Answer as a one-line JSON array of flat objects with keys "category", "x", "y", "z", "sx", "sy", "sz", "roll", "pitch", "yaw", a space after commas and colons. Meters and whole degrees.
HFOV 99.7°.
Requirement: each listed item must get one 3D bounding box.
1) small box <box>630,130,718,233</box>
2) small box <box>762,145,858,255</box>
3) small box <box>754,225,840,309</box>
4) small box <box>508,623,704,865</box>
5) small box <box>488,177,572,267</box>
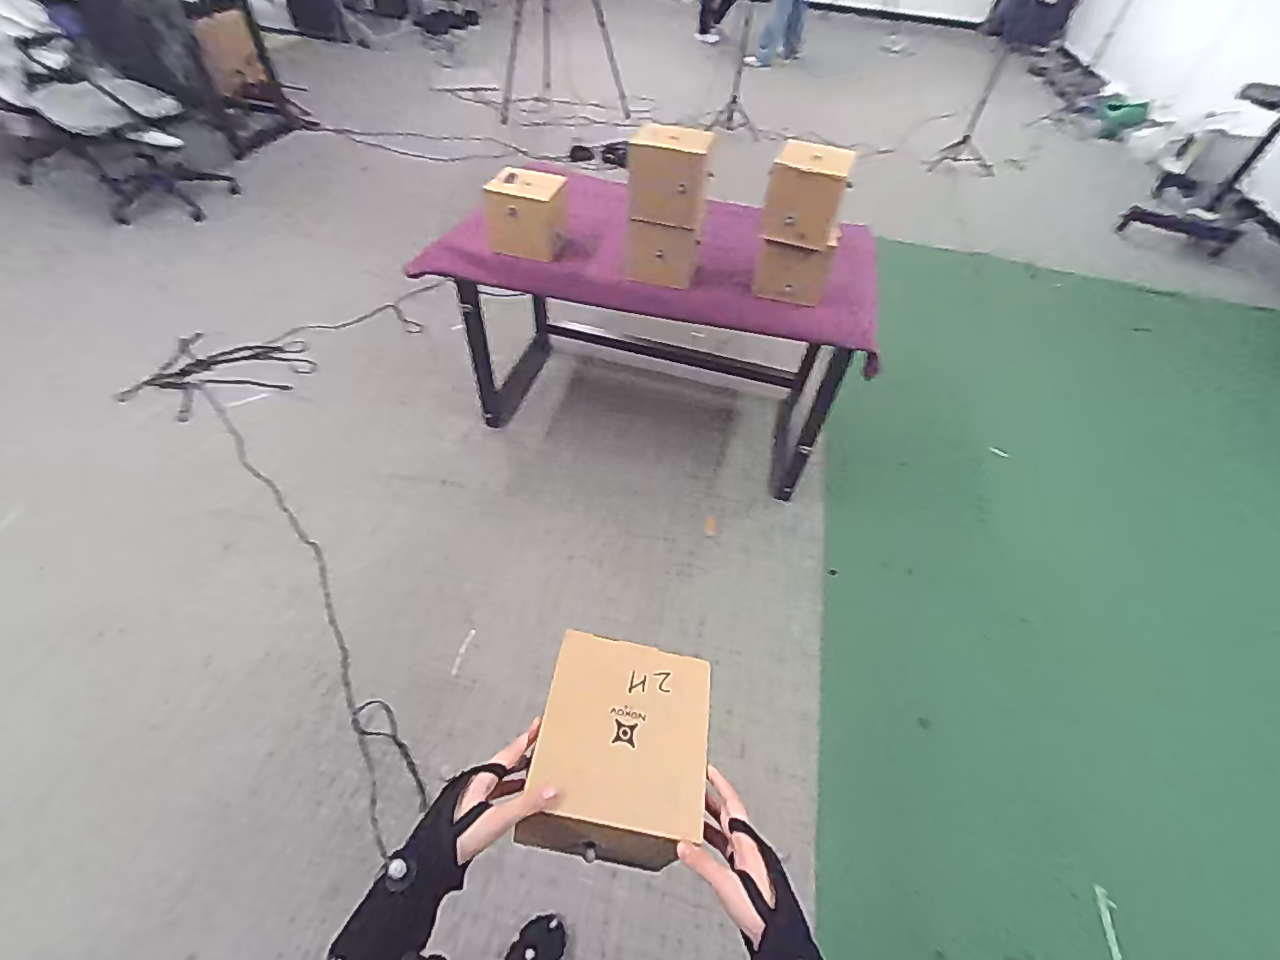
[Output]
[{"category": "small box", "x": 0.080, "y": -0.725, "z": 1.319, "sx": 0.179, "sy": 0.176, "sz": 0.168, "roll": 13, "pitch": 48, "yaw": 8}, {"category": "small box", "x": 0.402, "y": -0.670, "z": 1.295, "sx": 0.168, "sy": 0.176, "sz": 0.179, "roll": 18, "pitch": 51, "yaw": 13}, {"category": "small box", "x": 0.412, "y": -0.573, "z": 1.428, "sx": 0.179, "sy": 0.176, "sz": 0.168, "roll": 13, "pitch": 48, "yaw": 7}, {"category": "small box", "x": -0.037, "y": 0.287, "z": 0.581, "sx": 0.168, "sy": 0.176, "sz": 0.179, "roll": 14, "pitch": 44, "yaw": -3}, {"category": "small box", "x": -0.297, "y": -0.711, "z": 1.495, "sx": 0.179, "sy": 0.176, "sz": 0.168, "roll": 13, "pitch": 49, "yaw": 6}]
